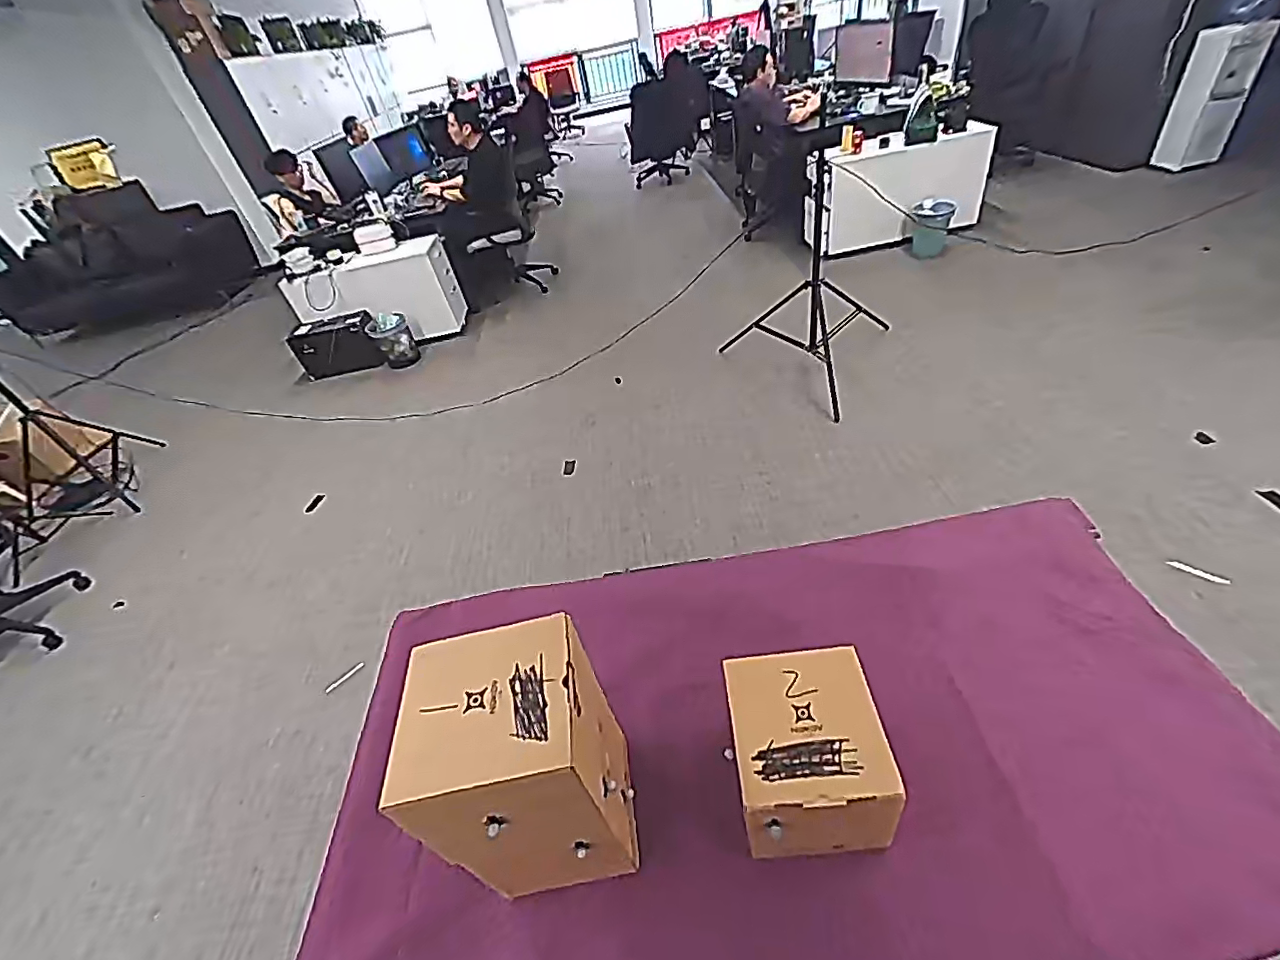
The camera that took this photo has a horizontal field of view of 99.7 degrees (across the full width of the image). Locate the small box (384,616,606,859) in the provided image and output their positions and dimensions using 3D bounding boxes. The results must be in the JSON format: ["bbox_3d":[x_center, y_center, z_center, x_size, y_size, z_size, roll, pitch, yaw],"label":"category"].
[{"bbox_3d":[-0.136,0.277,0.582,0.179,0.176,0.168,-13,40,1],"label":"small box"}]

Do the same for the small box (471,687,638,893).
[{"bbox_3d":[-0.110,0.397,0.691,0.179,0.176,0.168,-12,40,0],"label":"small box"}]
